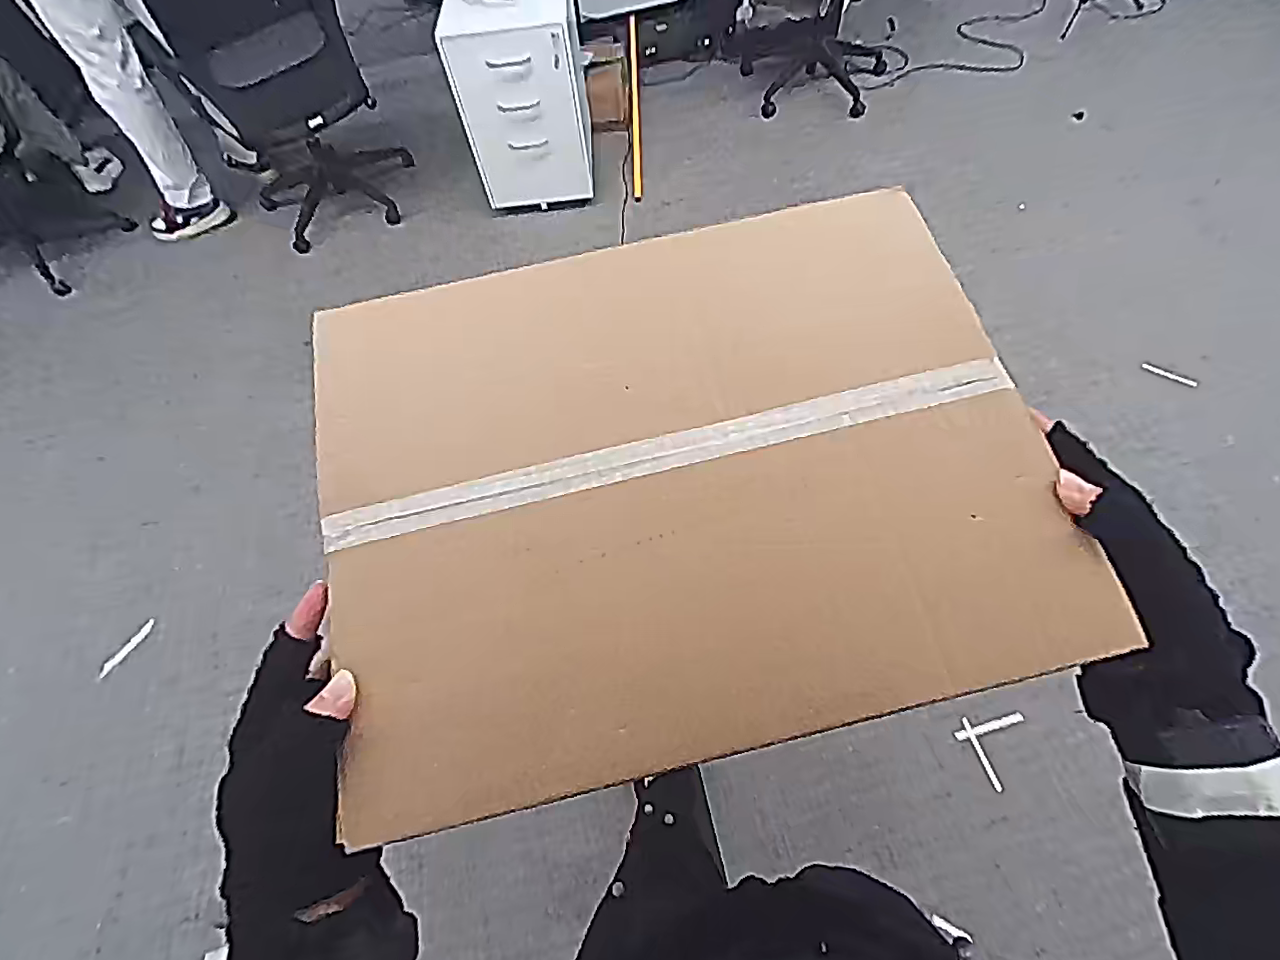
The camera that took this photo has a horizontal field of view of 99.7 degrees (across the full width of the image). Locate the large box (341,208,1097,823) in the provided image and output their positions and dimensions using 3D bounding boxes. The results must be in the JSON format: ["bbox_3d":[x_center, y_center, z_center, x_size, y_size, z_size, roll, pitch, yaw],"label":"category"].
[{"bbox_3d":[0.025,0.039,0.471,0.408,0.320,0.320,-14,71,-2],"label":"large box"}]
